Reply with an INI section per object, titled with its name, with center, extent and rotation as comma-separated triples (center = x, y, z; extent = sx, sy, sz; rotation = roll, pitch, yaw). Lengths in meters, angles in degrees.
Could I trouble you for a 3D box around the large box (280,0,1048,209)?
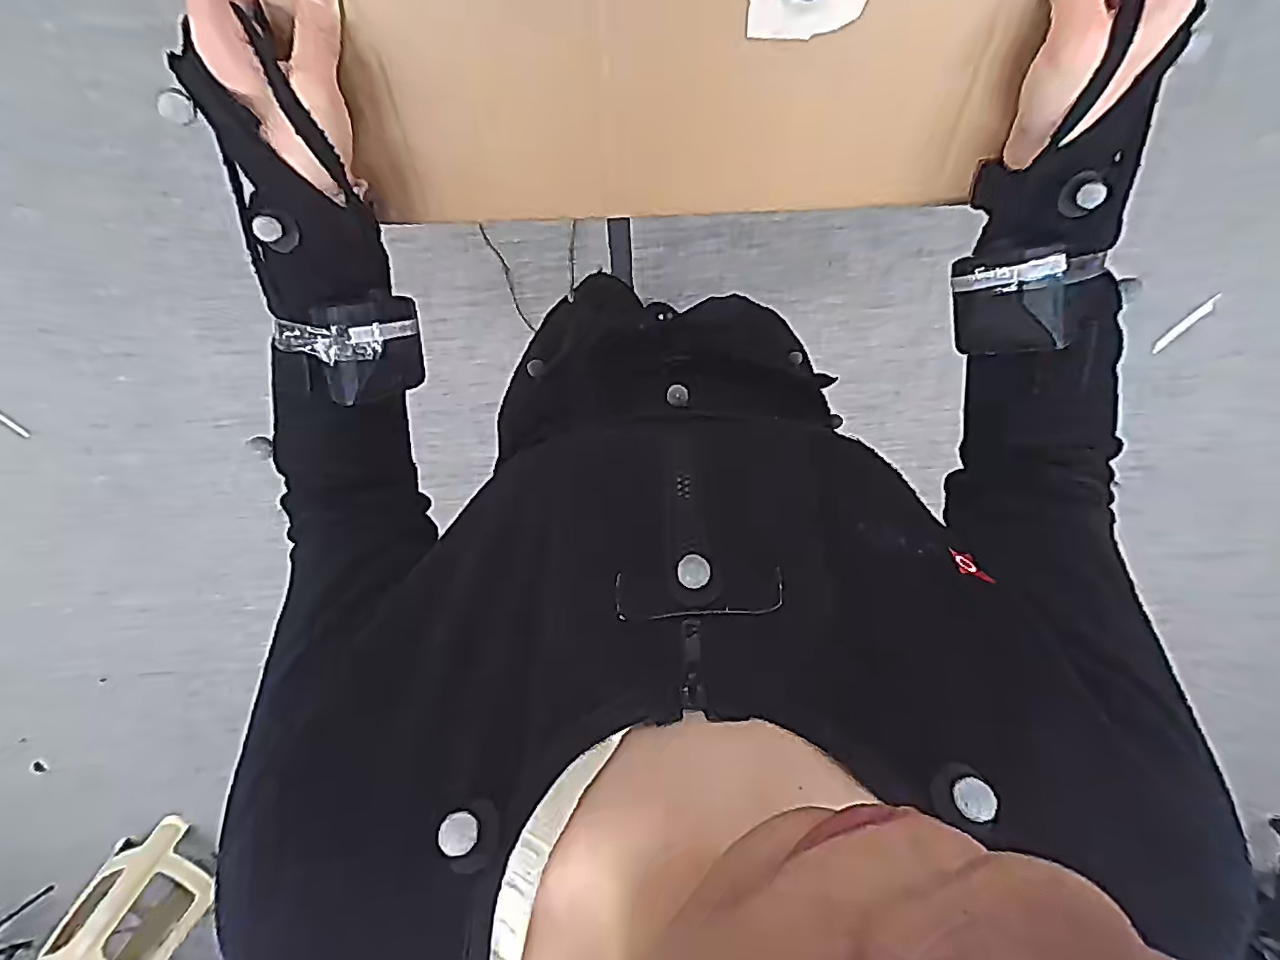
[large box]
center = 0.008, -0.398, 0.332
extent = 0.408, 0.320, 0.320
rotation = -2, 140, 1
